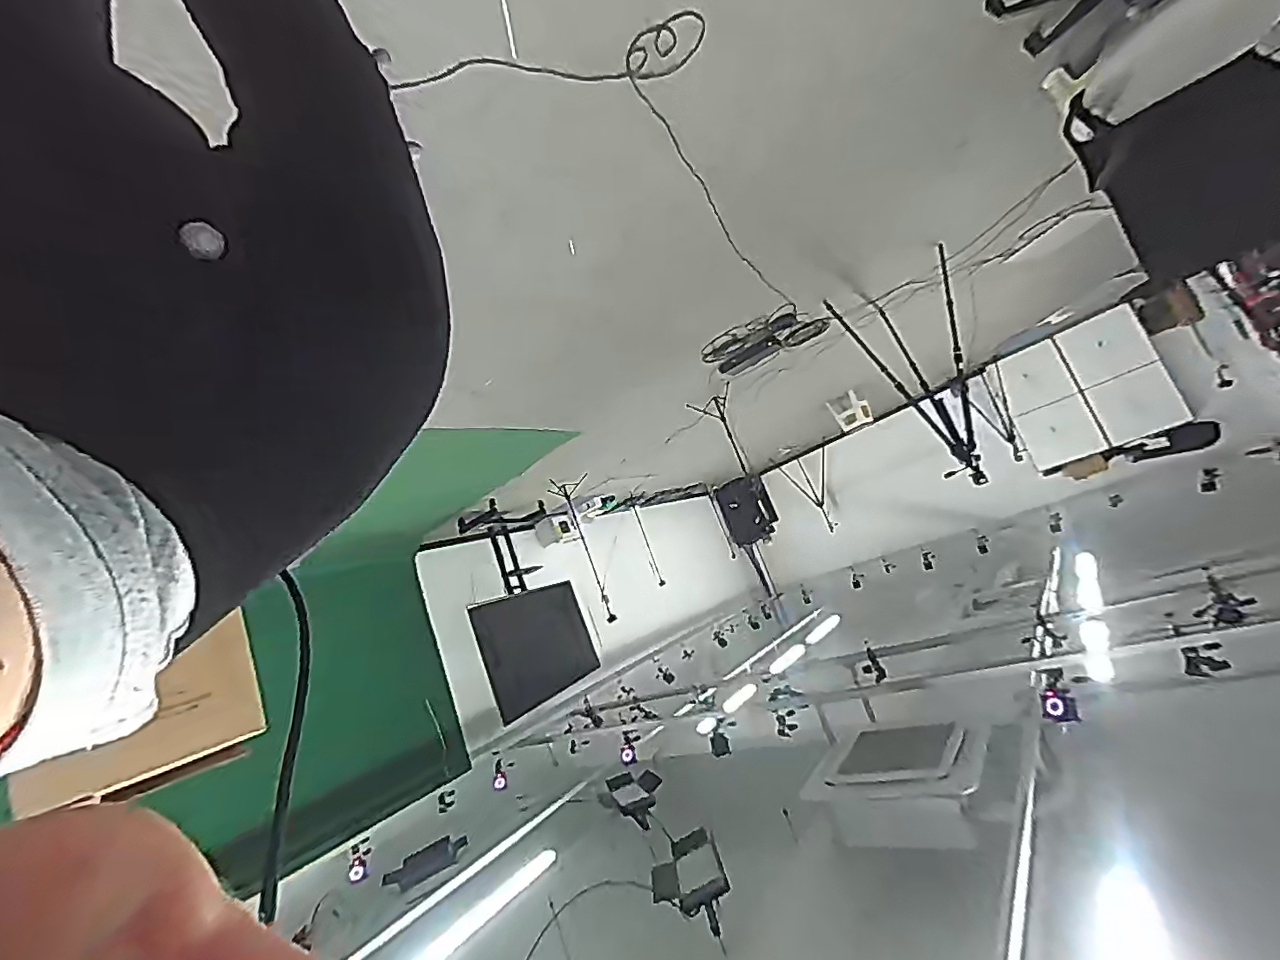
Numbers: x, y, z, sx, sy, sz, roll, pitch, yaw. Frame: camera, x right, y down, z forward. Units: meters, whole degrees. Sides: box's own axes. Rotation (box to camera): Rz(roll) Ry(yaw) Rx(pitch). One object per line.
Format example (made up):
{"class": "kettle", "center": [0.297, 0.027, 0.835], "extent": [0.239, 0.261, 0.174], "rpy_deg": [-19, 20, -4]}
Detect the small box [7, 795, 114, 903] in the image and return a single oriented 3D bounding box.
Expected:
{"class": "small box", "center": [-1.515, 0.956, 1.420], "extent": [0.168, 0.176, 0.179], "rpy_deg": [-9, 166, -42]}
